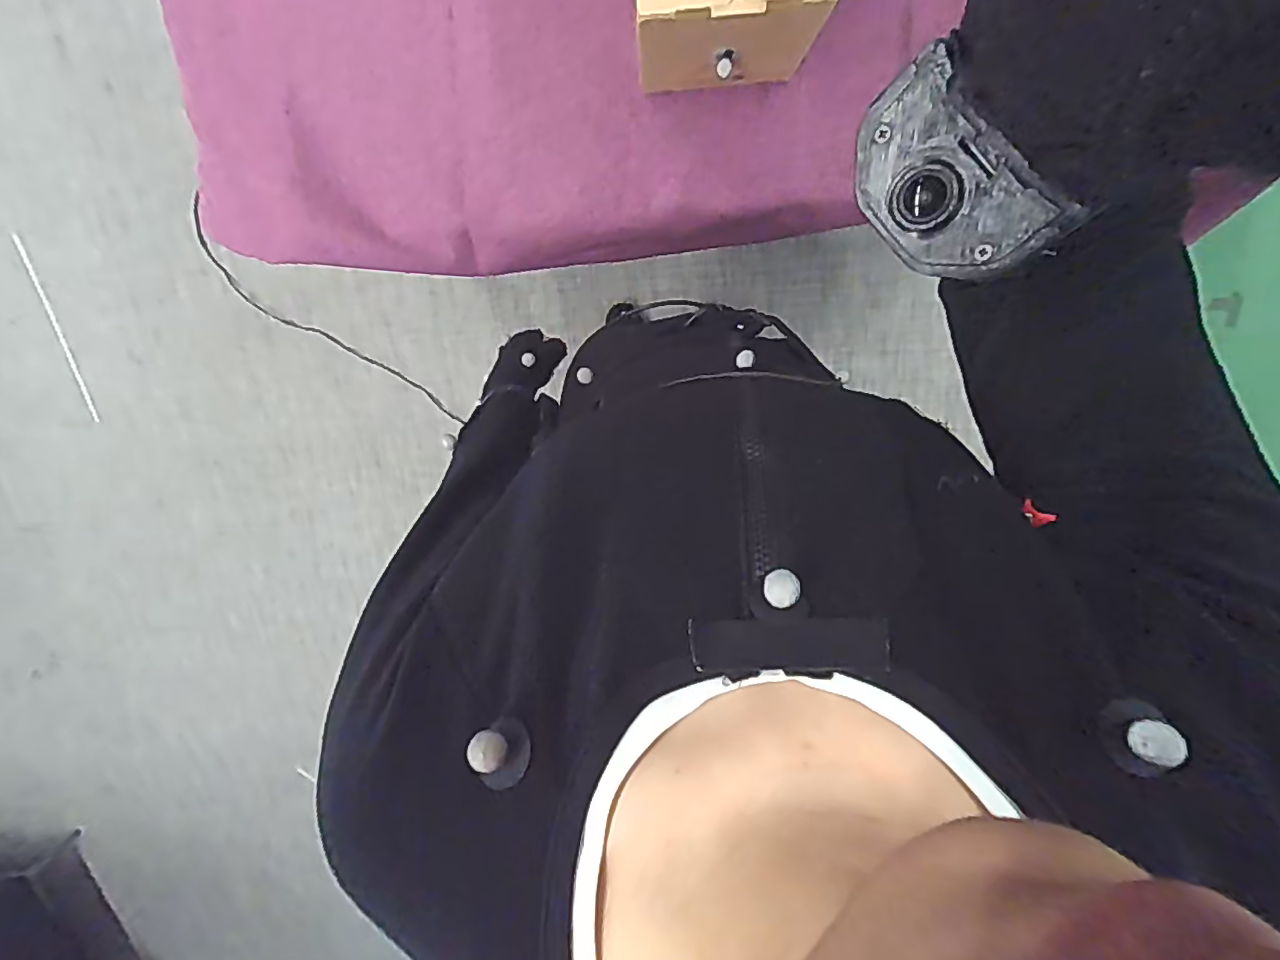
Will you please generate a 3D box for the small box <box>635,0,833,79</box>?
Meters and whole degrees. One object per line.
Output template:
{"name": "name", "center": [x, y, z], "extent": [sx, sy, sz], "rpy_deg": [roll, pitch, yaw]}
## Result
{"name": "small box", "center": [0.077, -0.488, 0.484], "extent": [0.168, 0.176, 0.179], "rpy_deg": [-3, 109, 3]}
